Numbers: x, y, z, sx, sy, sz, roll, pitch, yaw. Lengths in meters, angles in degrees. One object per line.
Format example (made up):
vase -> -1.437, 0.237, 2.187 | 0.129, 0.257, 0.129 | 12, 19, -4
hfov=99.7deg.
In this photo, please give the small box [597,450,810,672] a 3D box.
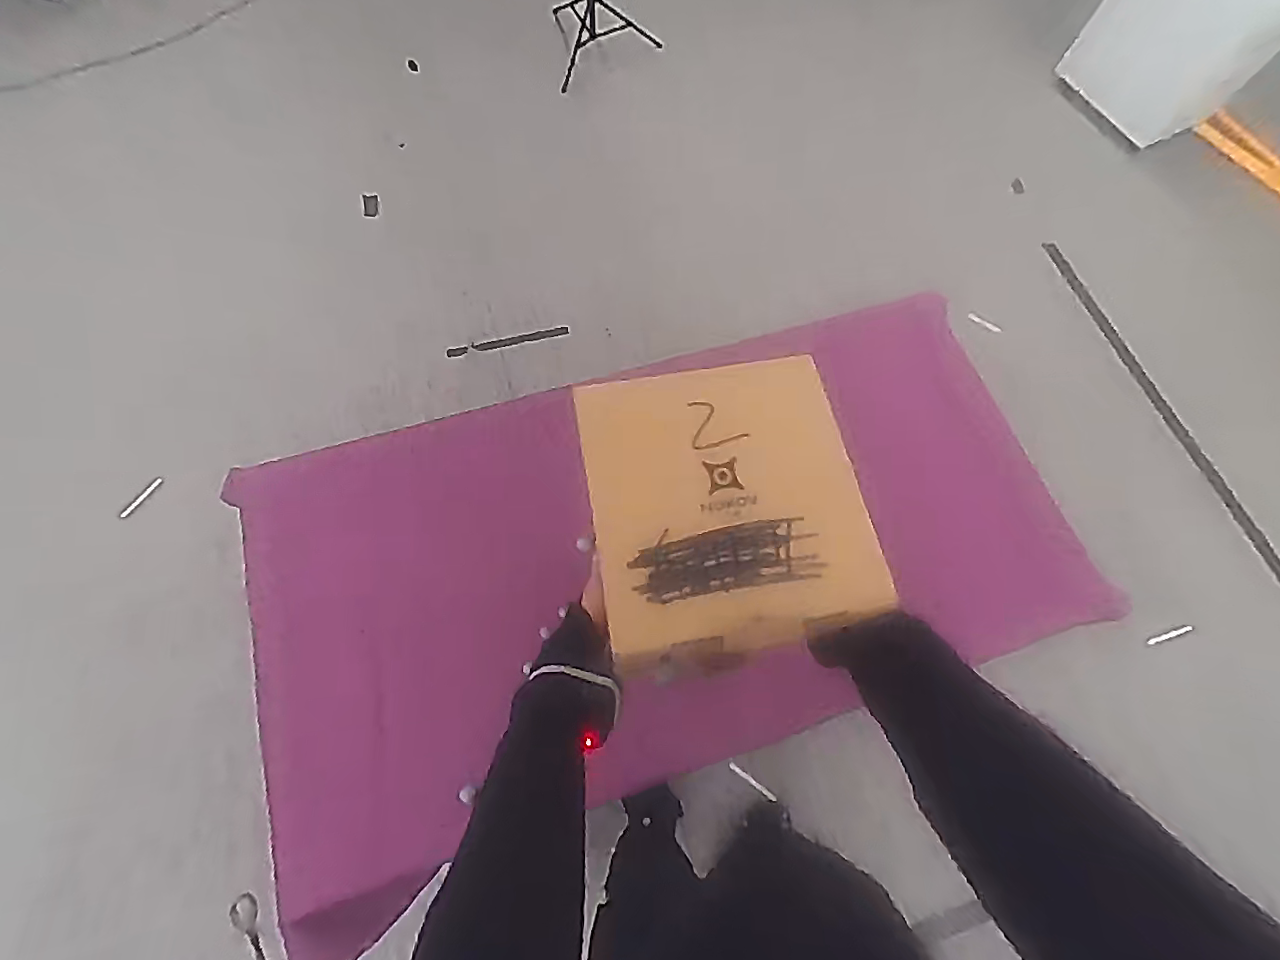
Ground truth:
small box -> 0.048, 0.091, 0.558 | 0.168, 0.176, 0.179 | -9, 69, -5
